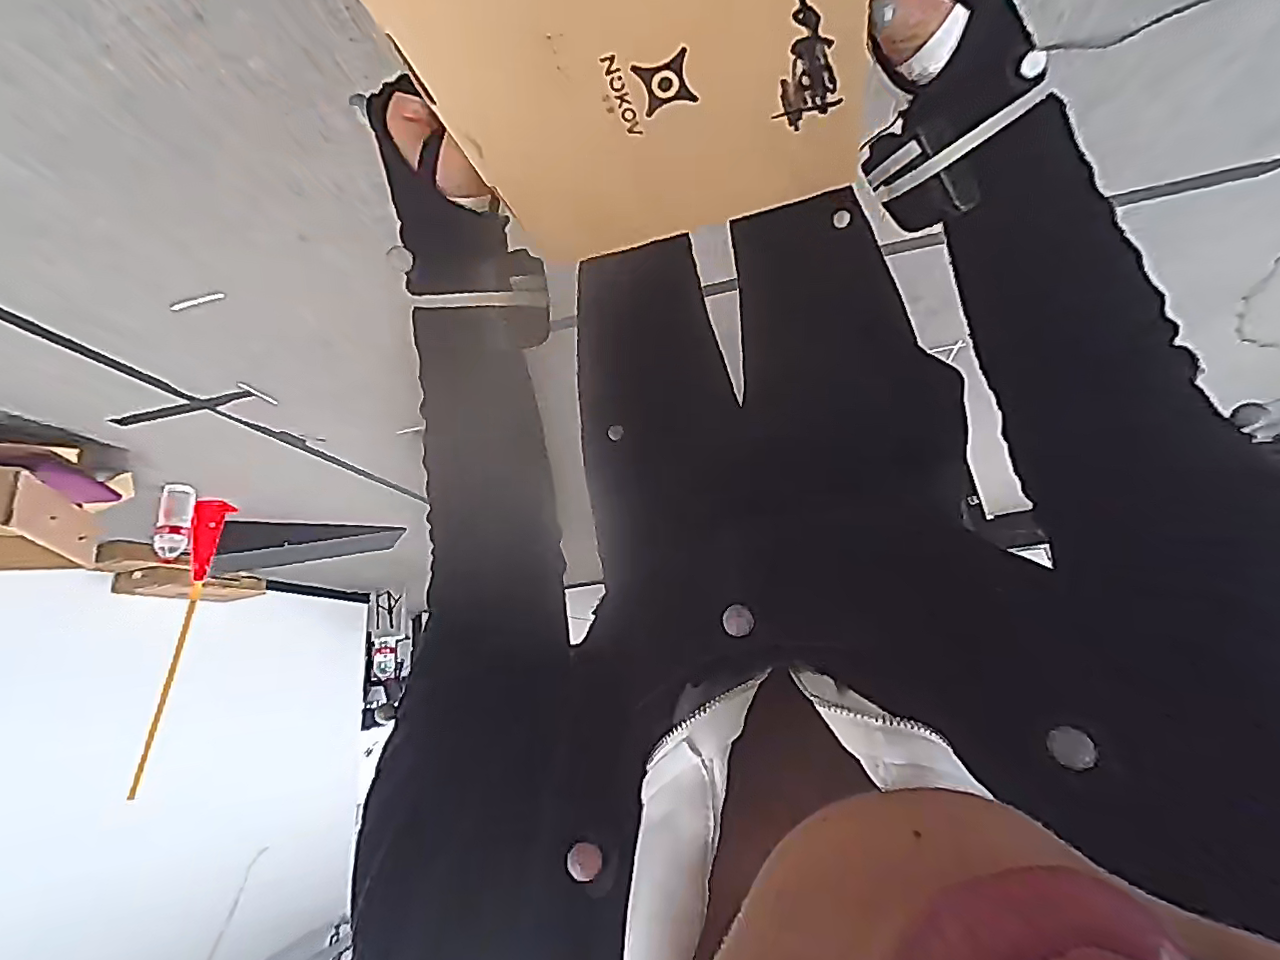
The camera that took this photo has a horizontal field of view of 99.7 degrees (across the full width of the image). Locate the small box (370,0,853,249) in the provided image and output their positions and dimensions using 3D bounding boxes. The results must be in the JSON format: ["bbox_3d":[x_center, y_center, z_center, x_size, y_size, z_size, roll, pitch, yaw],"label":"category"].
[{"bbox_3d":[-0.002,-0.247,0.252,0.179,0.176,0.168,-6,162,17],"label":"small box"}]
